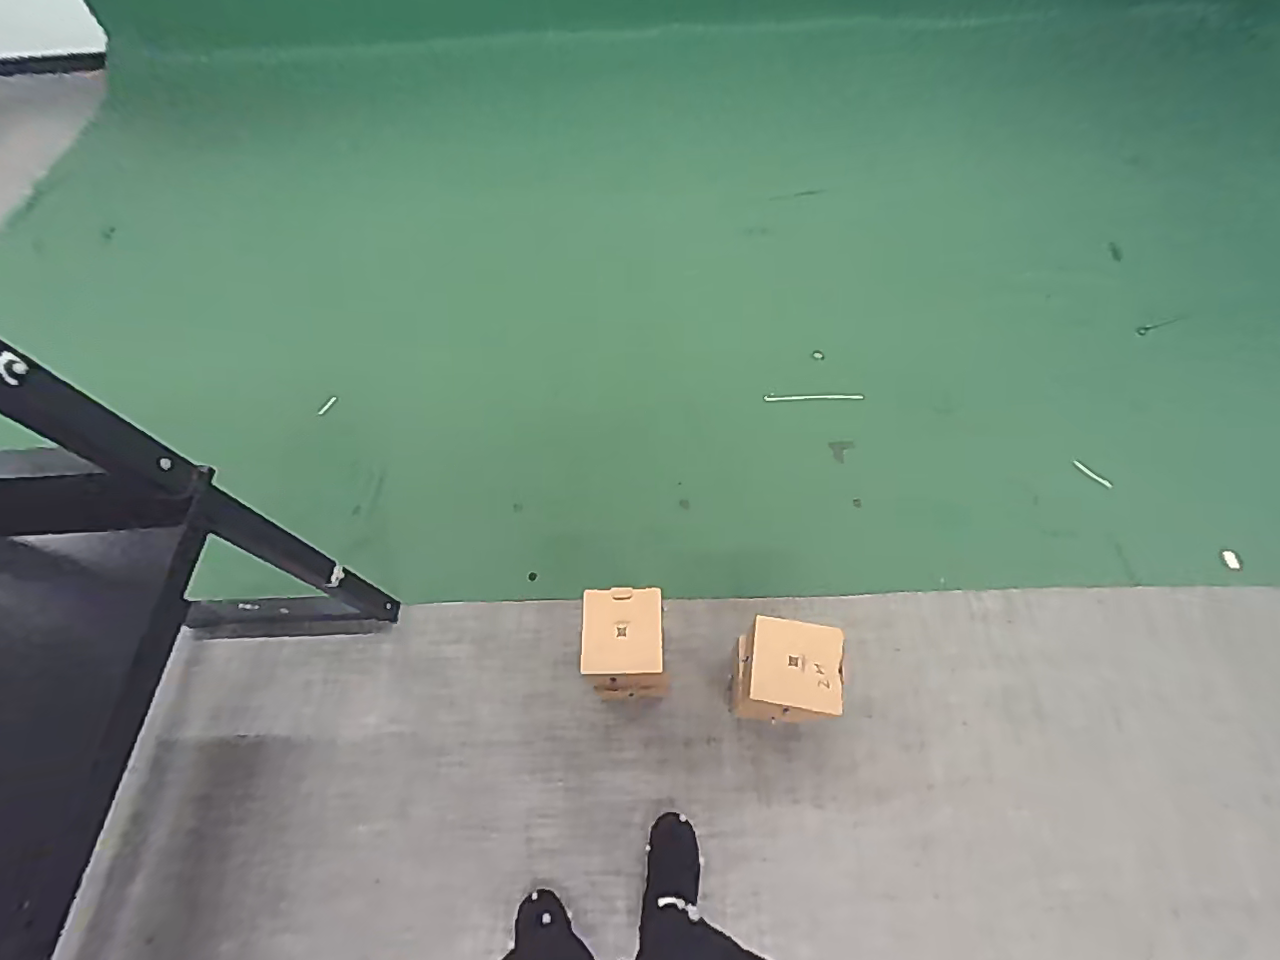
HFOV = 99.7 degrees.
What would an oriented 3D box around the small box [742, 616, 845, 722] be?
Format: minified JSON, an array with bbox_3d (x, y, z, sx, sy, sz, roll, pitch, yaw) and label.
[{"bbox_3d":[0.311,0.395,1.115,0.179,0.176,0.168,8,63,7],"label":"small box"}]

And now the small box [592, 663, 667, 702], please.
[{"bbox_3d":[-0.023,0.434,1.300,0.168,0.176,0.179,-4,61,1],"label":"small box"}]

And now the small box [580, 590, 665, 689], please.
[{"bbox_3d":[-0.032,0.348,1.162,0.168,0.176,0.179,-3,60,2],"label":"small box"}]
